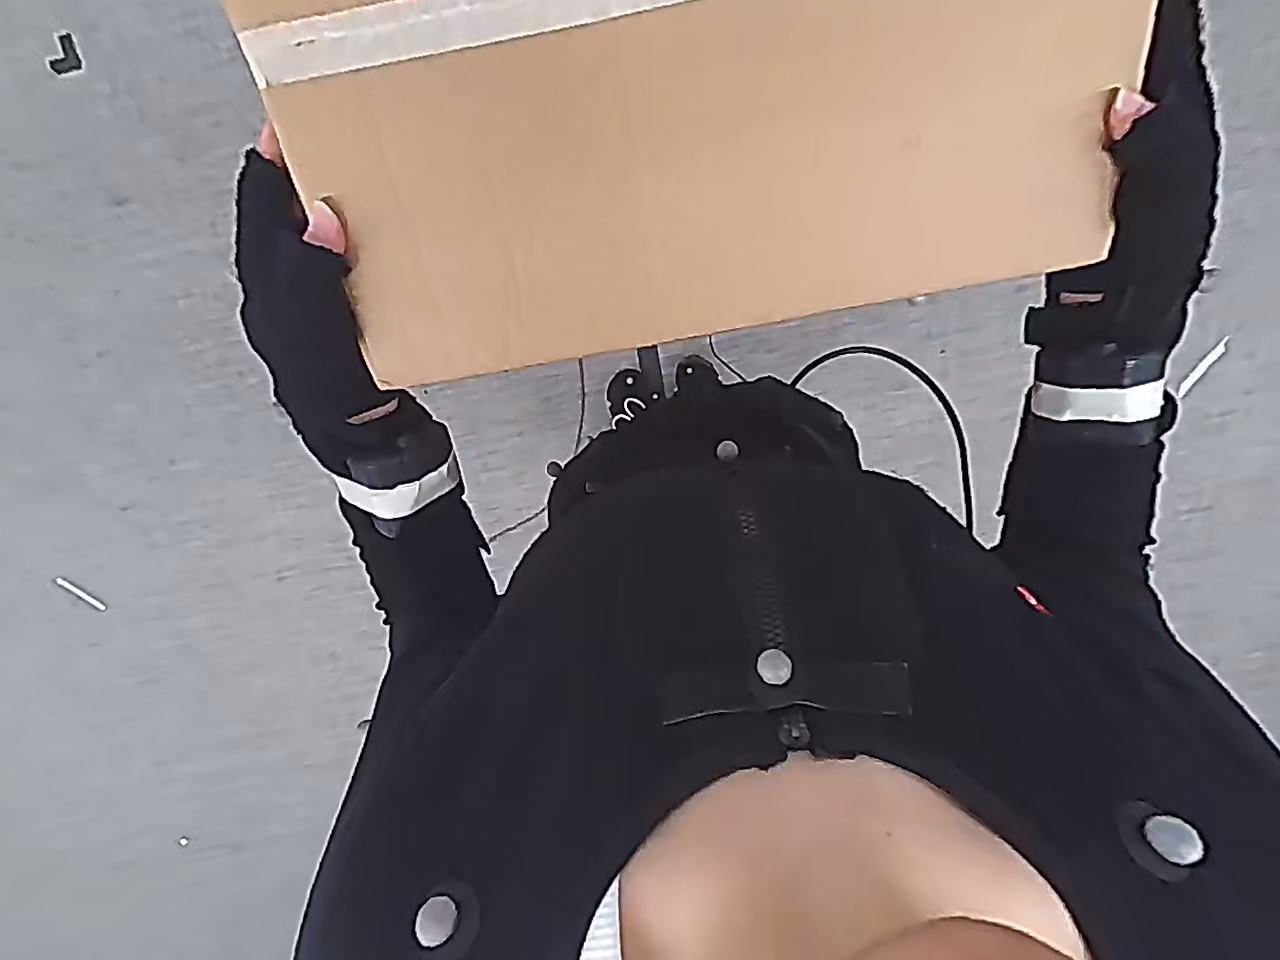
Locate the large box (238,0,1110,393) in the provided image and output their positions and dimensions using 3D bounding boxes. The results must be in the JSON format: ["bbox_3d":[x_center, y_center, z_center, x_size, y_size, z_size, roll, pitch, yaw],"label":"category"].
[{"bbox_3d":[0.016,-0.285,0.381,0.408,0.320,0.320,-10,114,3],"label":"large box"}]
